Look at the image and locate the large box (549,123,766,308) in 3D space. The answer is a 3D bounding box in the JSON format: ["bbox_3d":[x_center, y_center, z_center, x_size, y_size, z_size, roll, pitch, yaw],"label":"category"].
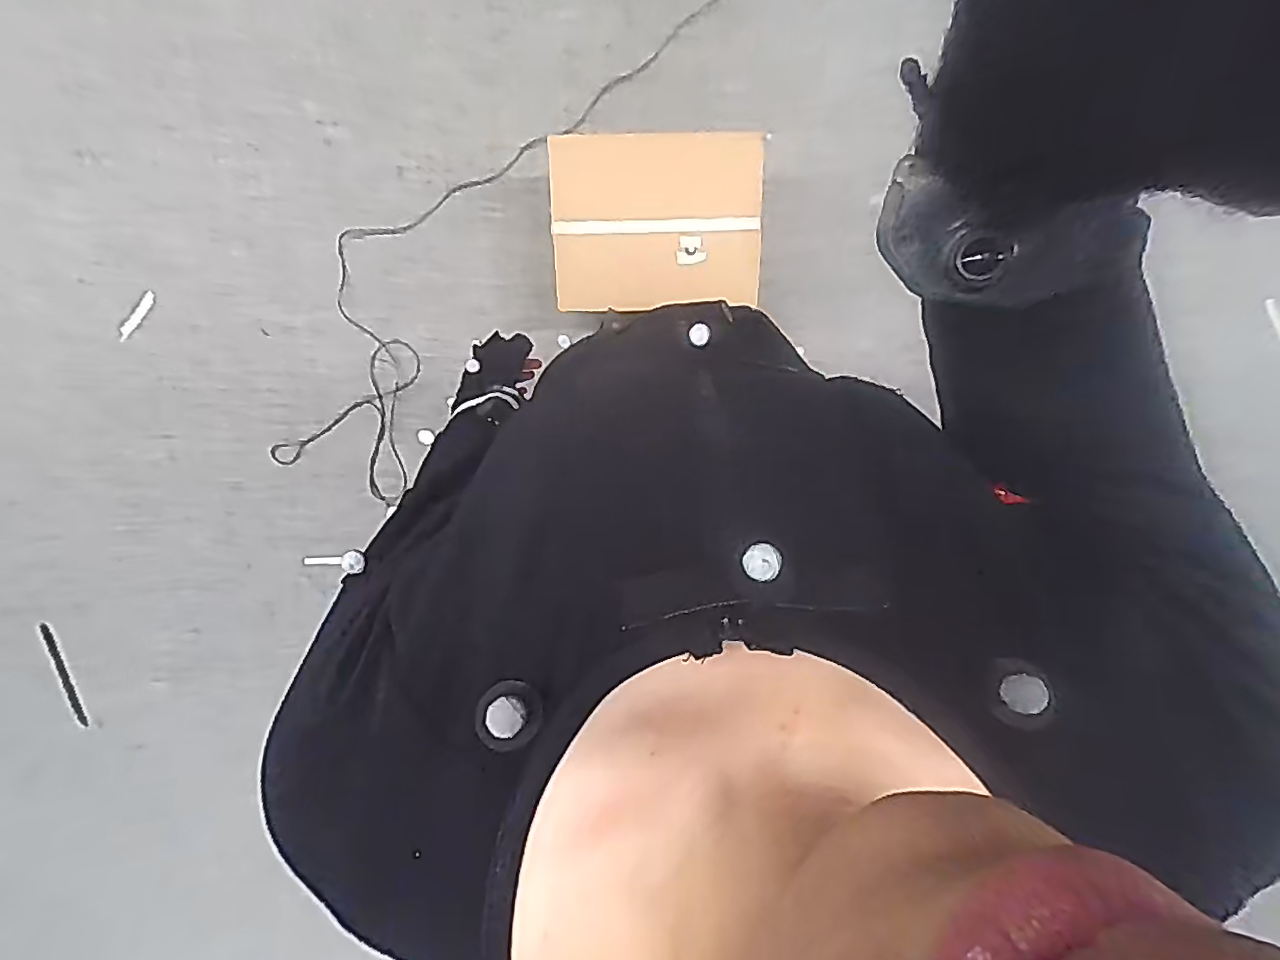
[{"bbox_3d":[0.033,-0.544,1.171,0.408,0.320,0.320,-1,109,-1],"label":"large box"}]
